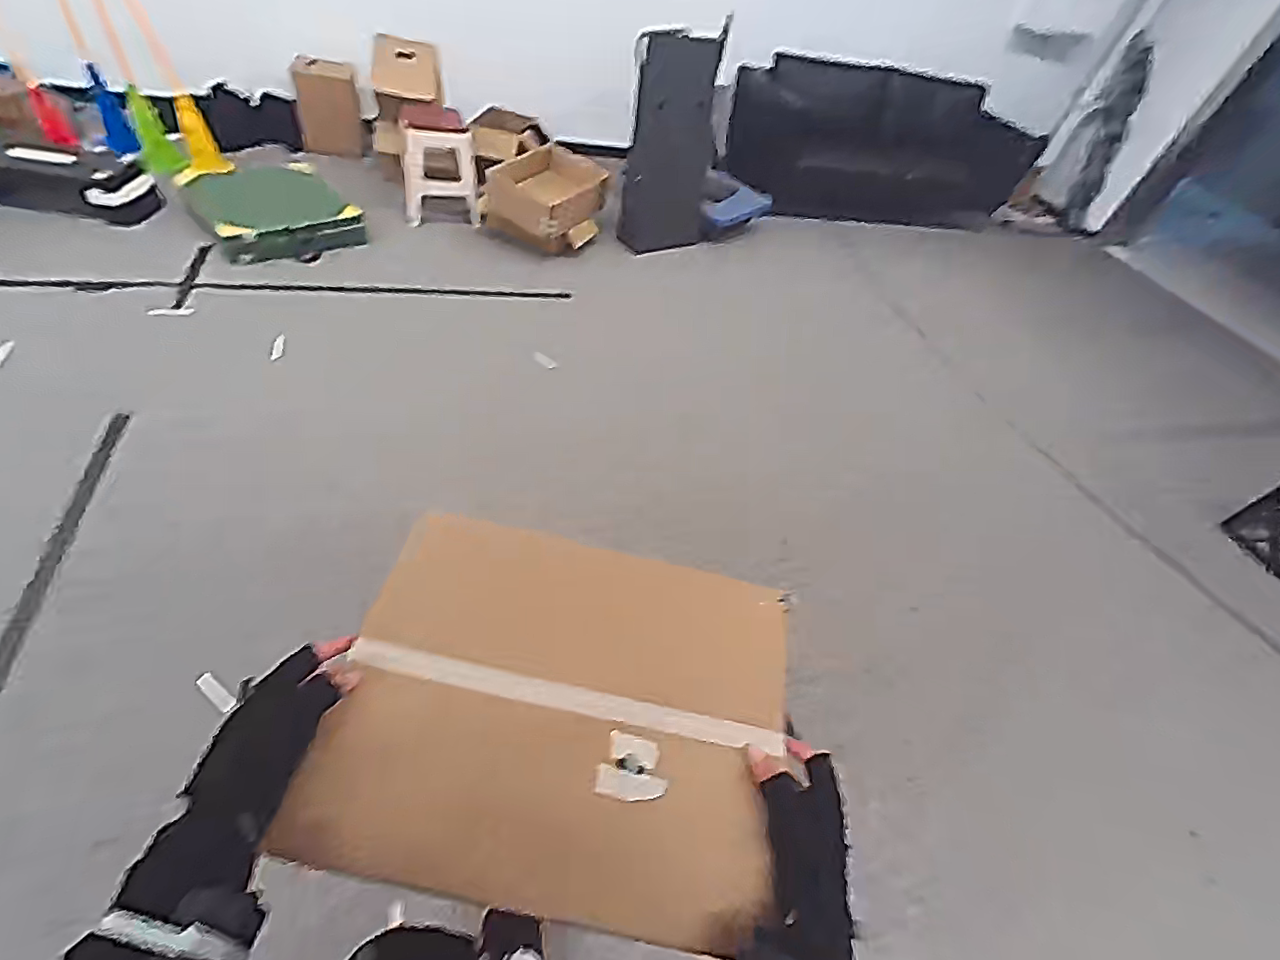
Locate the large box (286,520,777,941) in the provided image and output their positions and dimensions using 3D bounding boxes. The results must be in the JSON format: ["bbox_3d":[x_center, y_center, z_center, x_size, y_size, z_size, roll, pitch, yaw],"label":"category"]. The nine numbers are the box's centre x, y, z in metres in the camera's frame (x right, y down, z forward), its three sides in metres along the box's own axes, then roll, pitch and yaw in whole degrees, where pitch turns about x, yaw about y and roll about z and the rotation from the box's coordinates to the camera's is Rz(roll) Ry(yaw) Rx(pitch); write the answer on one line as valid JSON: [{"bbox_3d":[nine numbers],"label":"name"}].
[{"bbox_3d":[-0.088,0.290,0.636,0.408,0.320,0.320,14,56,-2],"label":"large box"}]
